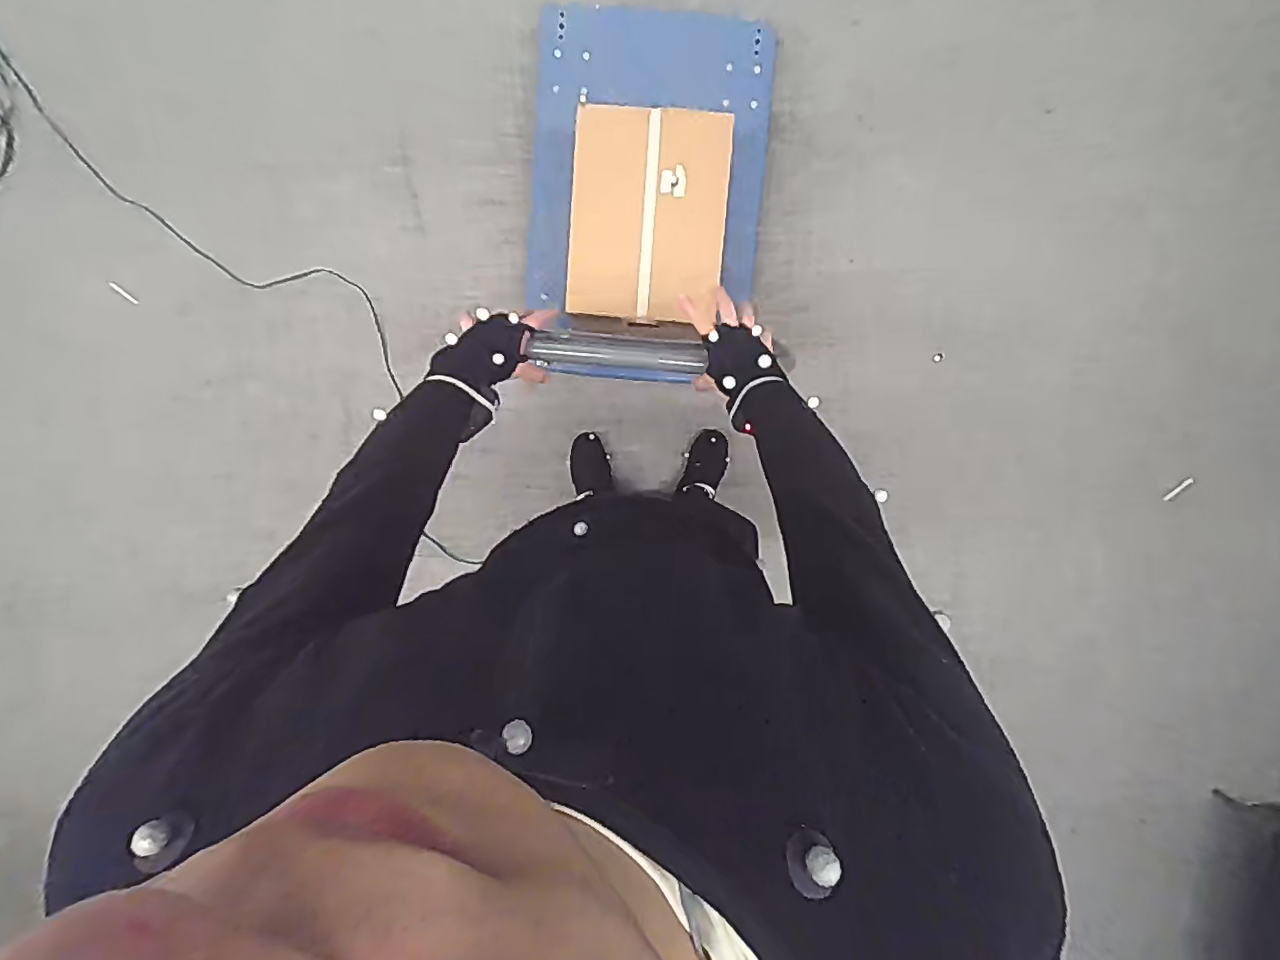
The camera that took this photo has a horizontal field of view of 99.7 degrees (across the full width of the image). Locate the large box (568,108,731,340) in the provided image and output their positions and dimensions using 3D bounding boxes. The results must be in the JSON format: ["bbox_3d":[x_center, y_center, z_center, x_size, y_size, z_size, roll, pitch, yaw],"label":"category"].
[{"bbox_3d":[0.020,-0.551,1.246,0.320,0.320,0.408,5,97,0],"label":"large box"}]
